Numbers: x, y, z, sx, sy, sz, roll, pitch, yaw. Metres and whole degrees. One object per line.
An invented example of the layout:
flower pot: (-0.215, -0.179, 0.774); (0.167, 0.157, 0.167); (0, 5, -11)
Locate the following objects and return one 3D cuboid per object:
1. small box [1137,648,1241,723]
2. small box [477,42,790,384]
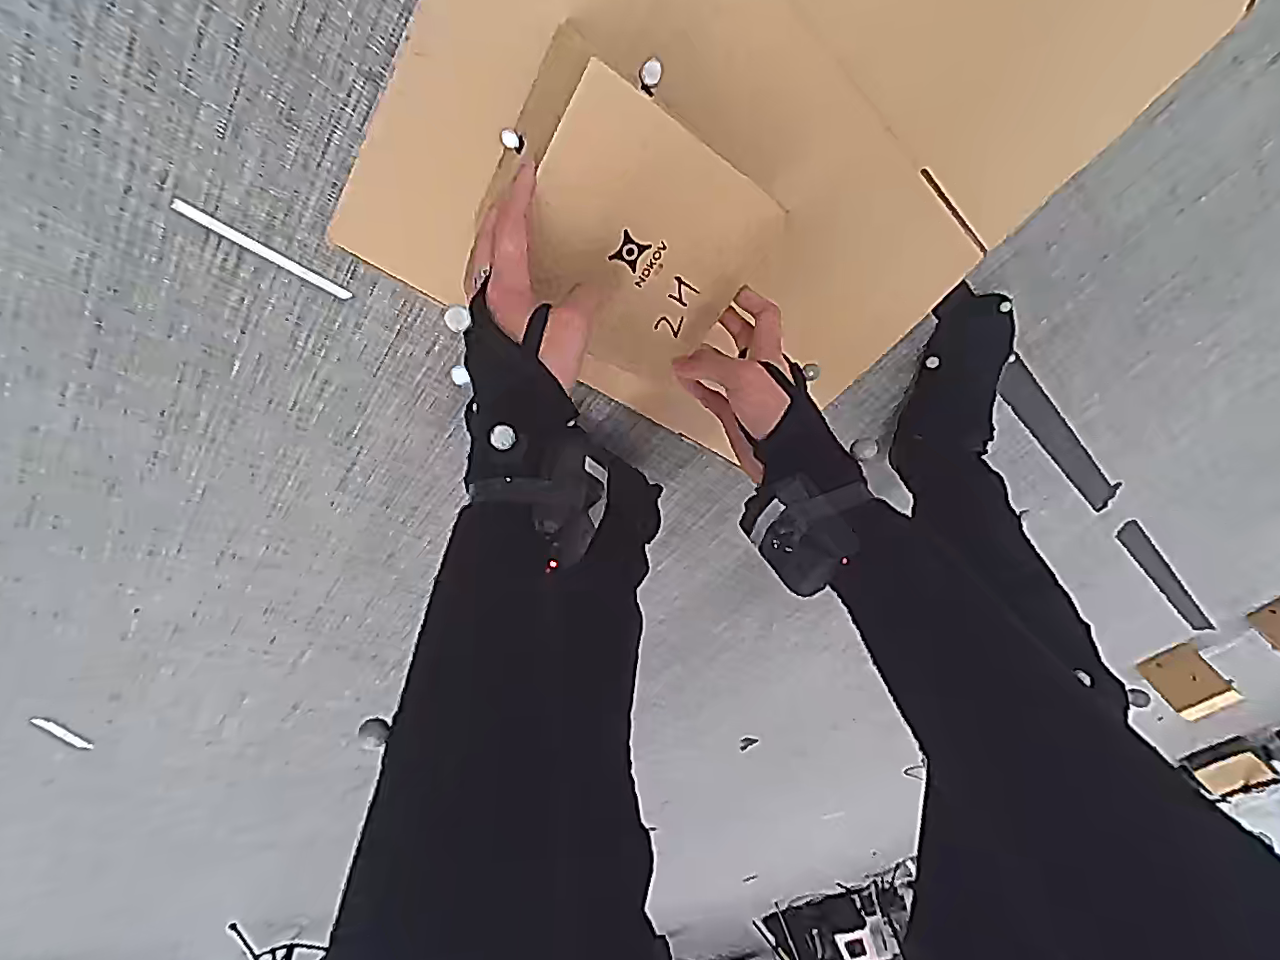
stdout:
small box: (1.817, 0.680, 1.798); (0.179, 0.176, 0.168); (24, 123, -32)
small box: (-0.020, -0.216, 0.444); (0.179, 0.176, 0.168); (19, 125, -33)
